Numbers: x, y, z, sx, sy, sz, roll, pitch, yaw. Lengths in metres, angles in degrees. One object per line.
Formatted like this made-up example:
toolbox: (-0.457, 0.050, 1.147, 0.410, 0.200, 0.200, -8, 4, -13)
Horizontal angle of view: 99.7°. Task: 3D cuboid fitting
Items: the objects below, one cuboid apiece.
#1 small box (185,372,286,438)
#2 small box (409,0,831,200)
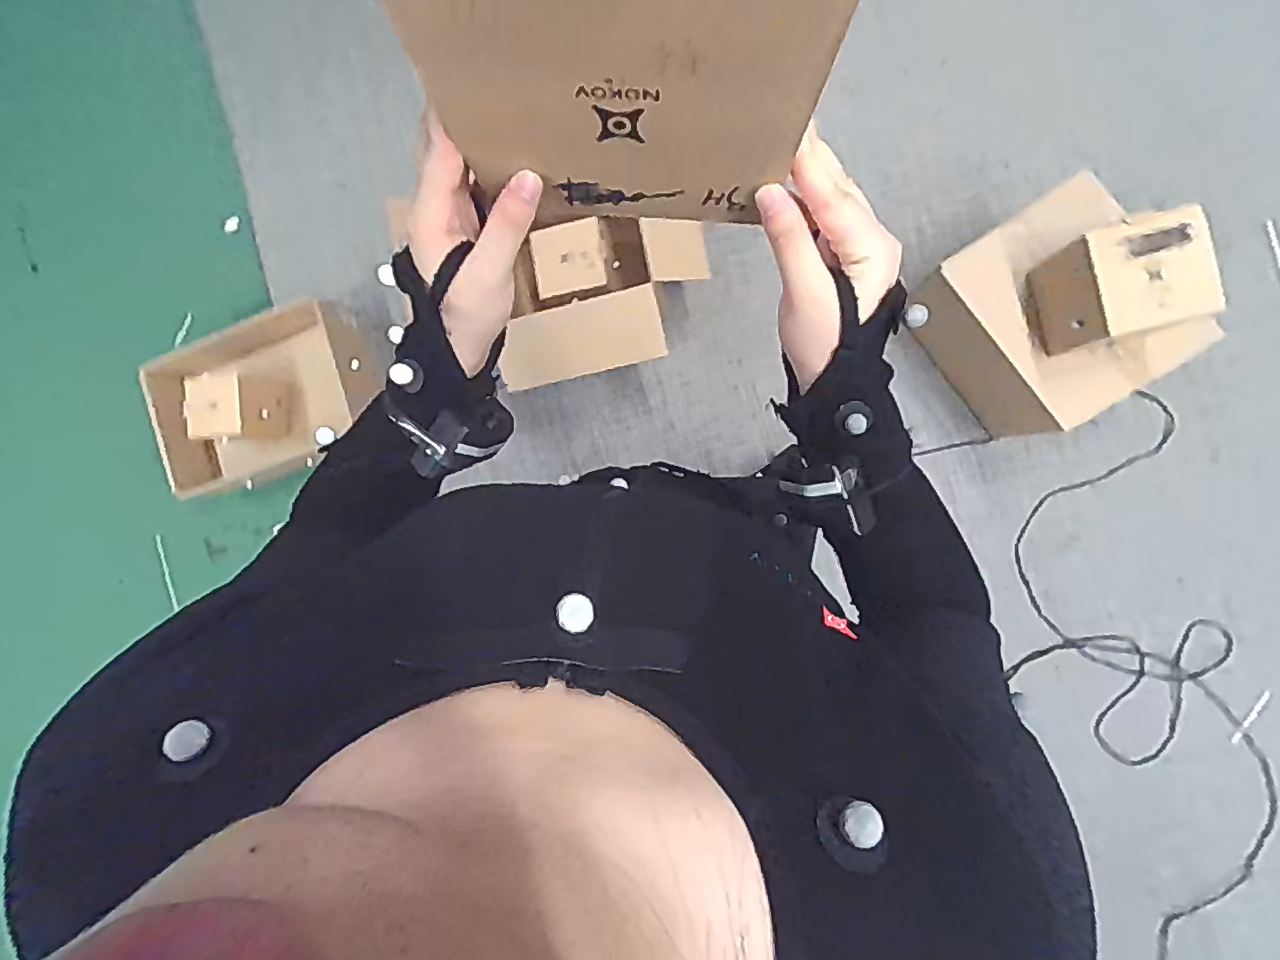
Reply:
small box: (-1.161, -0.213, 1.566, 0.179, 0.176, 0.168, -4, 90, 9)
small box: (-0.006, -0.262, 0.252, 0.168, 0.179, 0.176, 3, 87, 1)
